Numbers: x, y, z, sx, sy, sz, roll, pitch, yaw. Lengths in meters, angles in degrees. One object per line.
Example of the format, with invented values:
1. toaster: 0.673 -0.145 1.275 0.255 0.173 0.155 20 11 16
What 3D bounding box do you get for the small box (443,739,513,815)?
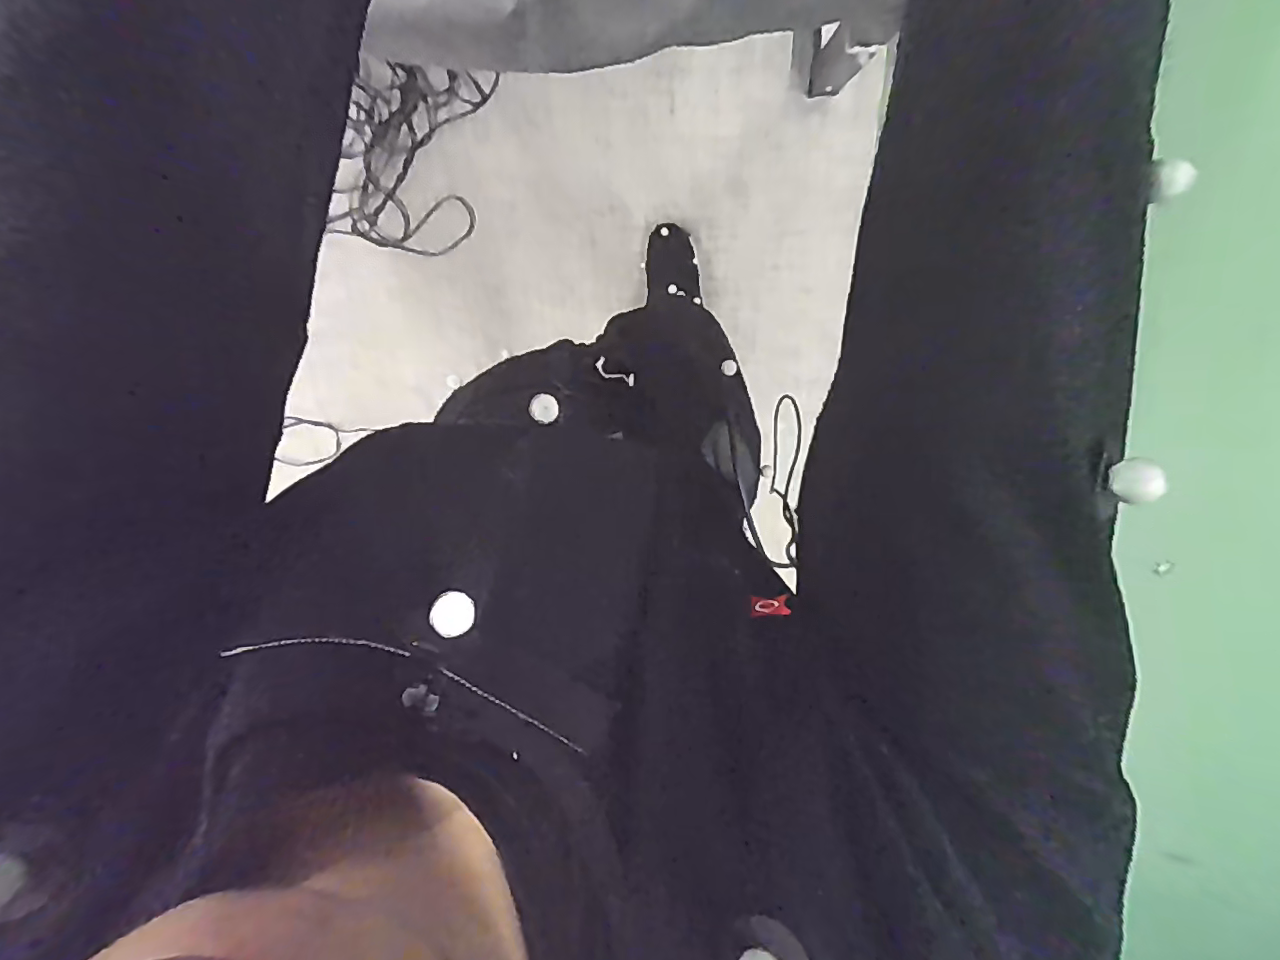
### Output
1. small box: -0.555 1.033 1.887 0.179 0.176 0.168 0 116 8
